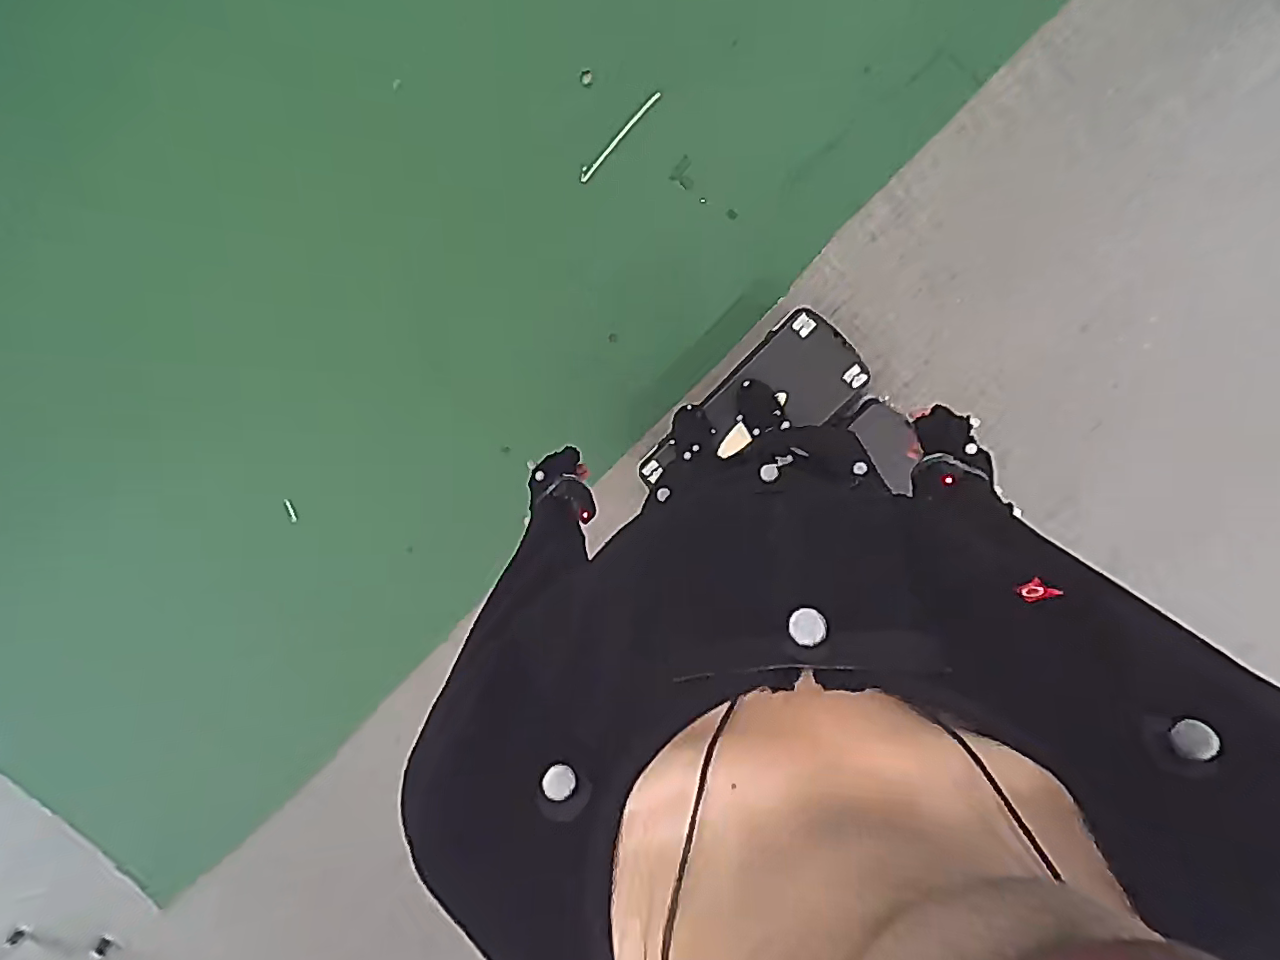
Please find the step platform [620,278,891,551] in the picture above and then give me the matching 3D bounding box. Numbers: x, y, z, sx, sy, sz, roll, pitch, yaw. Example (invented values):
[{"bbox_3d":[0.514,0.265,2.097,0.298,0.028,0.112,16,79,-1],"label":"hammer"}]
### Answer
[{"bbox_3d":[0.265,-0.153,1.352,0.286,0.204,0.684,44,102,-4],"label":"step platform"}]
